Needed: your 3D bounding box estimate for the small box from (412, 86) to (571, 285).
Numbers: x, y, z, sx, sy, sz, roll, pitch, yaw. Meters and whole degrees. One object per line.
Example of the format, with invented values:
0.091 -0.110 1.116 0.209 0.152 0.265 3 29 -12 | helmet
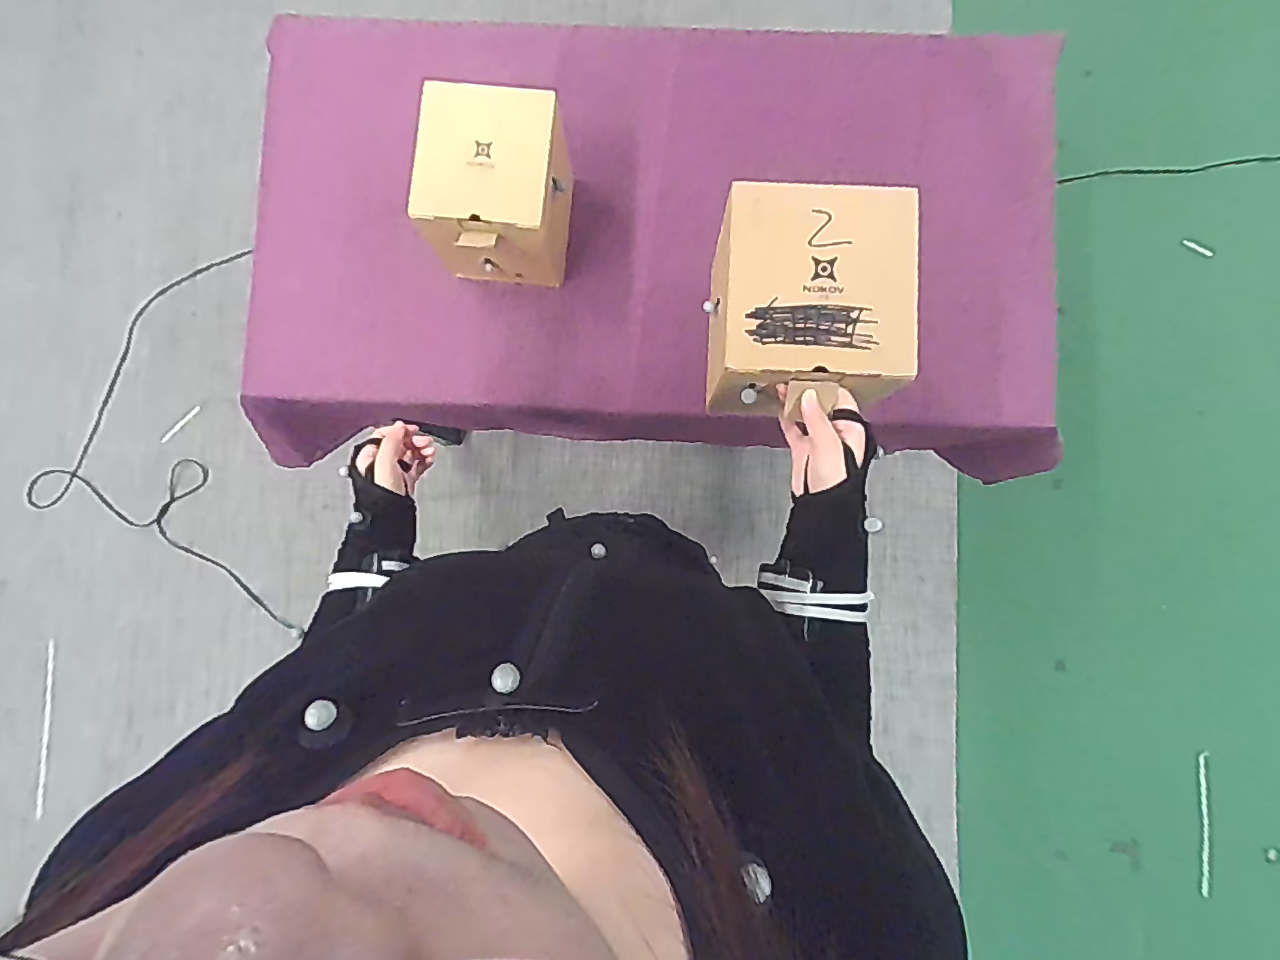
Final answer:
-0.194 -0.398 0.754 0.168 0.176 0.179 6 87 1 | small box
